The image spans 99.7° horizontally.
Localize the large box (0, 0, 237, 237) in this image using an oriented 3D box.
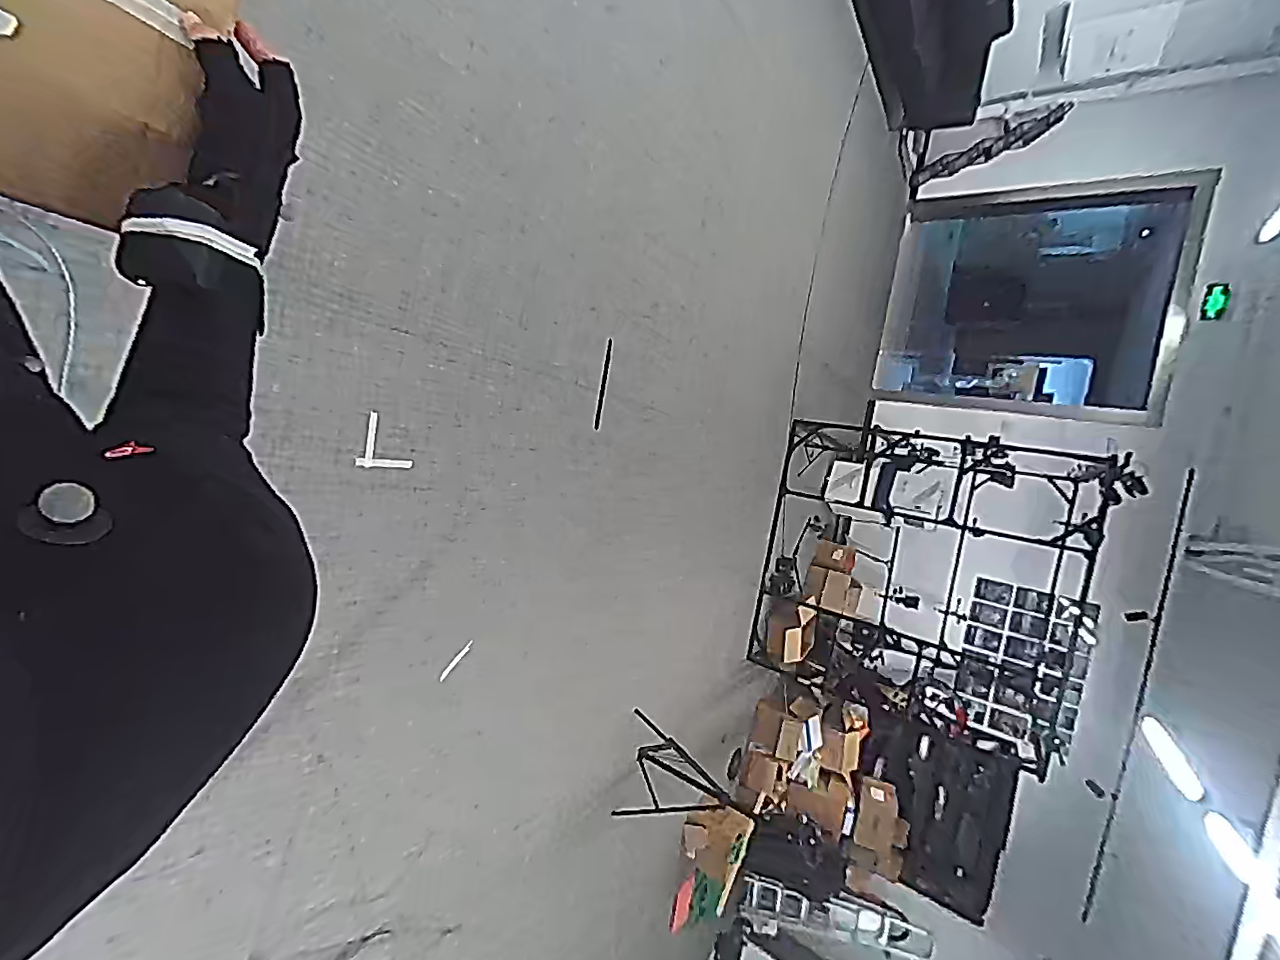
[{"bbox_3d":[-0.554,-0.402,0.336,0.408,0.320,0.320,4,108,-60],"label":"large box"}]
